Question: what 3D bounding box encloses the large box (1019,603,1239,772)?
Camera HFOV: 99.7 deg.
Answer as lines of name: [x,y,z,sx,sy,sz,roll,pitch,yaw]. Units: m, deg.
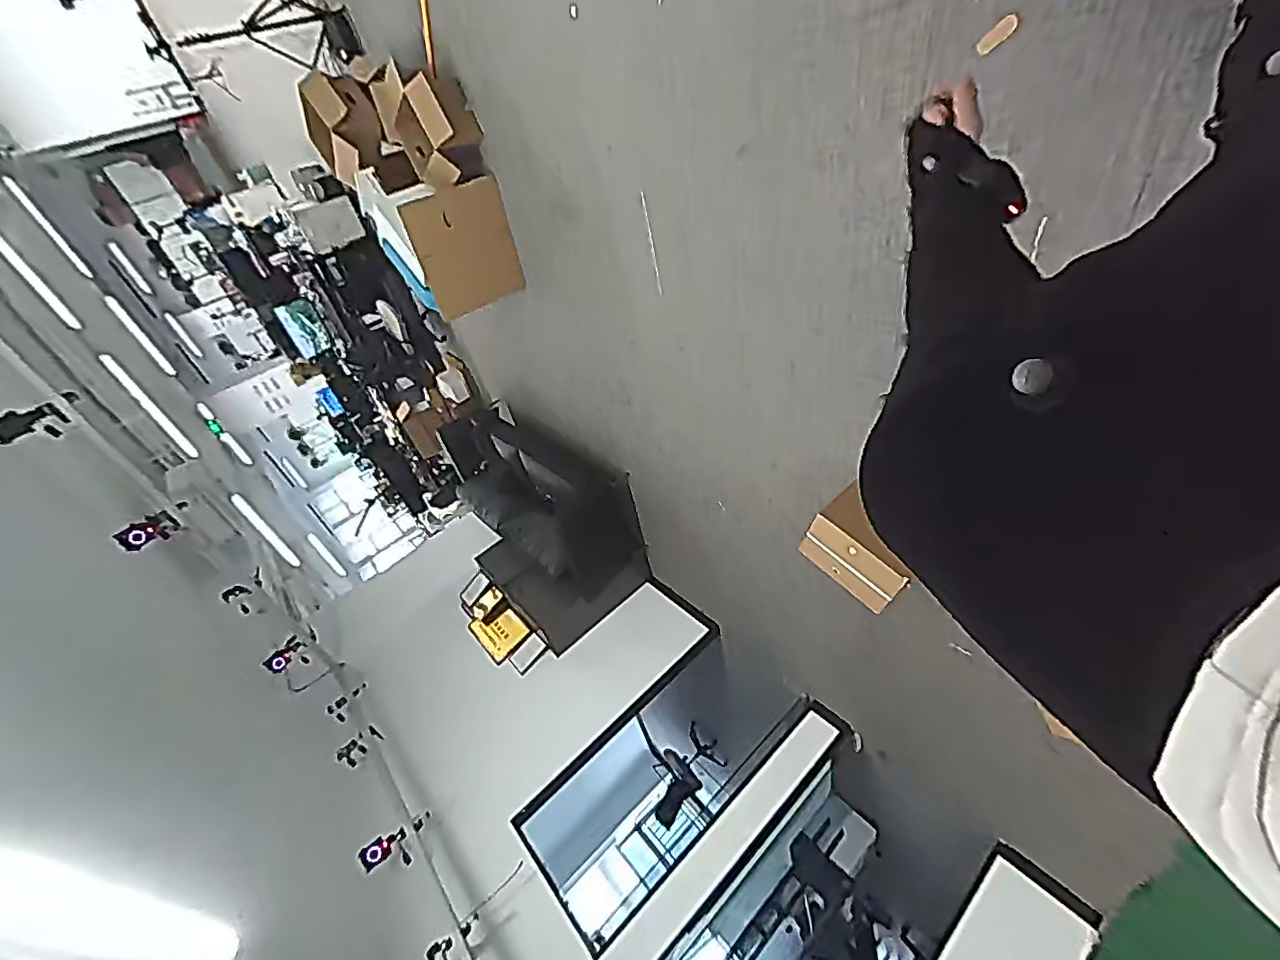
large box: [1.519,0.618,1.697,0.320,0.320,0.408,58,154,-11]
